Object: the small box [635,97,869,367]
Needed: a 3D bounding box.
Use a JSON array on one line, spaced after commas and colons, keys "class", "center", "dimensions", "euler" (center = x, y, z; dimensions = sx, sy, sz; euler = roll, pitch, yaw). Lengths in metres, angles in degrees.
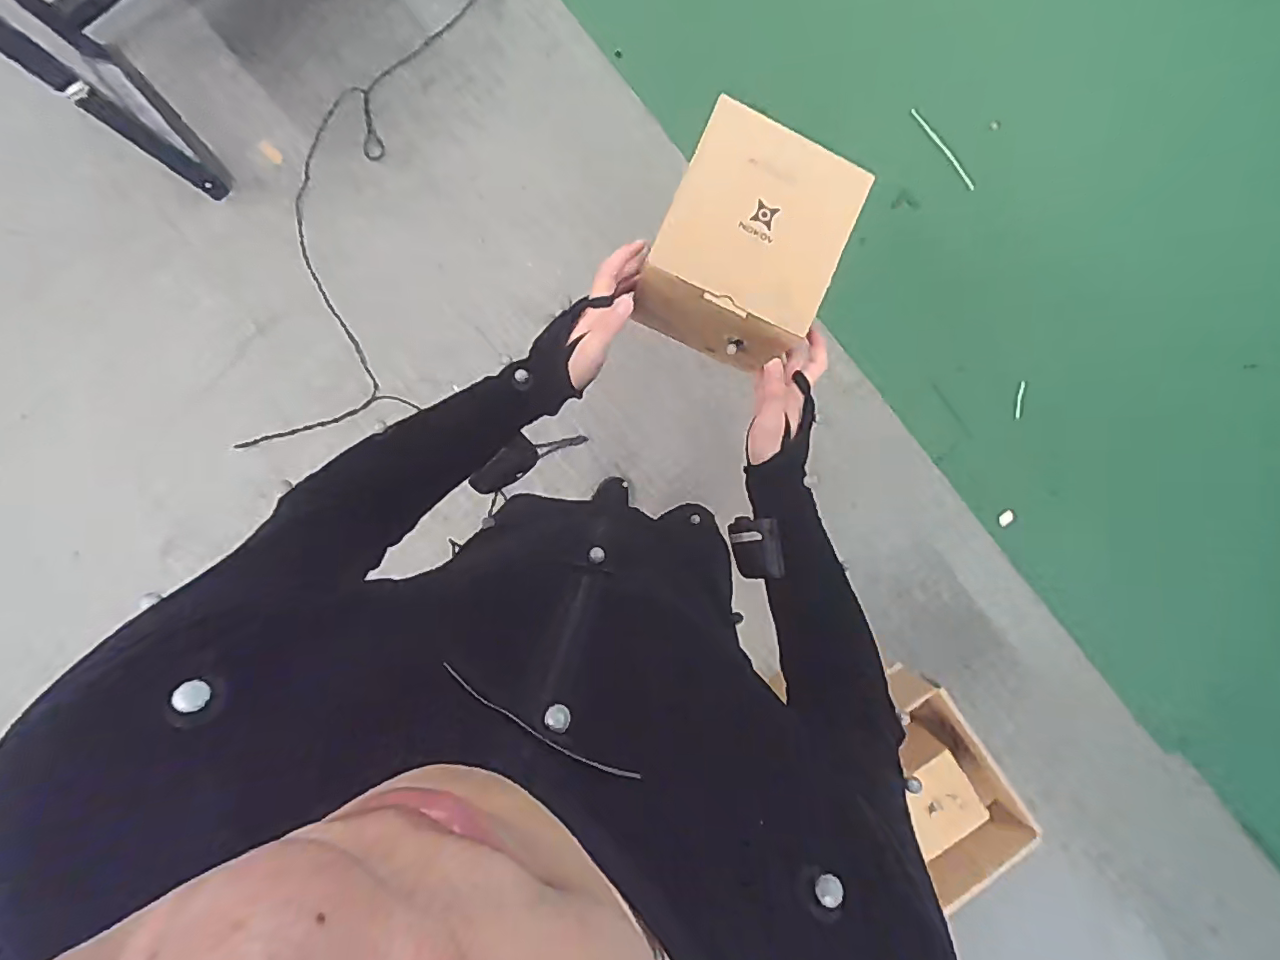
[{"class": "small box", "center": [0.102, -0.240, 0.577], "dimensions": [0.168, 0.176, 0.179], "euler": [24, 87, -7]}]
